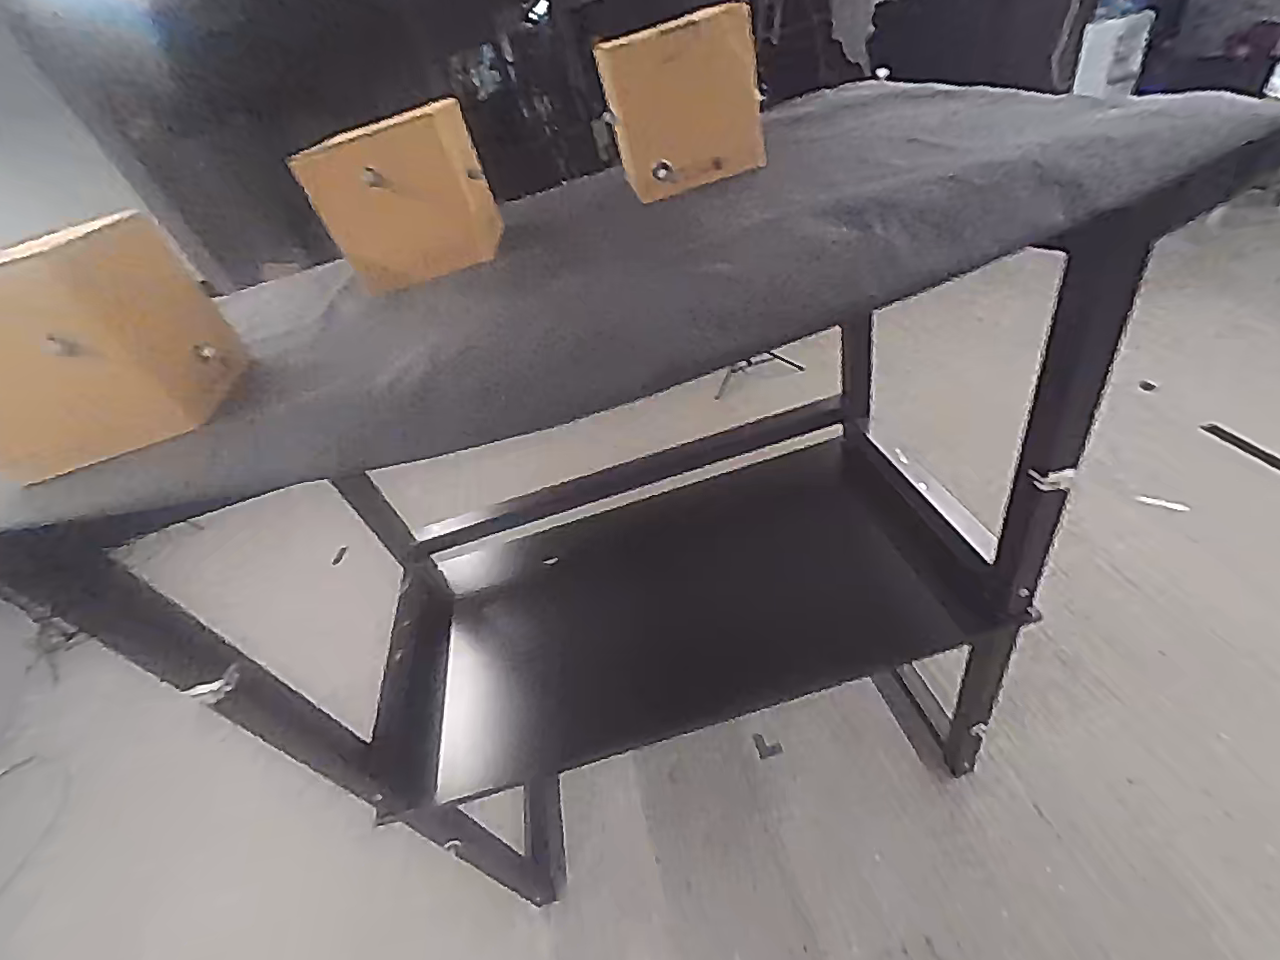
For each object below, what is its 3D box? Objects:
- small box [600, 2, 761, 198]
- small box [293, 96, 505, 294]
[{"bbox_3d":[0.053,-0.493,0.714,0.168,0.176,0.179,-16,39,3],"label":"small box"},{"bbox_3d":[-0.293,-0.371,0.707,0.179,0.176,0.168,-15,40,5],"label":"small box"}]
